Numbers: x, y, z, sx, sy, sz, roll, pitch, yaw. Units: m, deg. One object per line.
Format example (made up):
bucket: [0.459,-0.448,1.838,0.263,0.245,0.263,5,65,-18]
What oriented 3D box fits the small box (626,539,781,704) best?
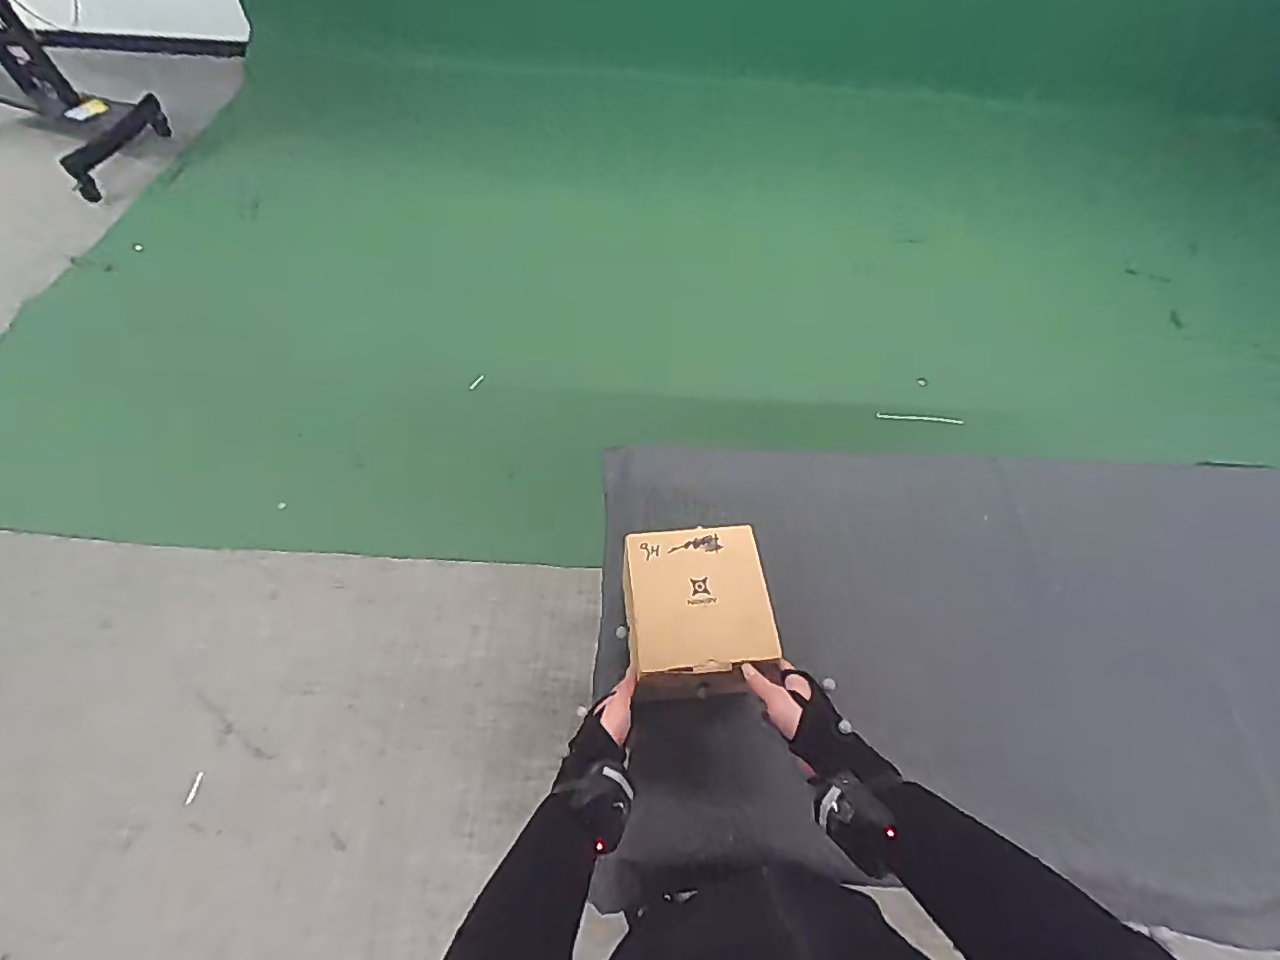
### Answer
small box: [0.072,0.196,0.726,0.168,0.176,0.179,-3,59,-7]
